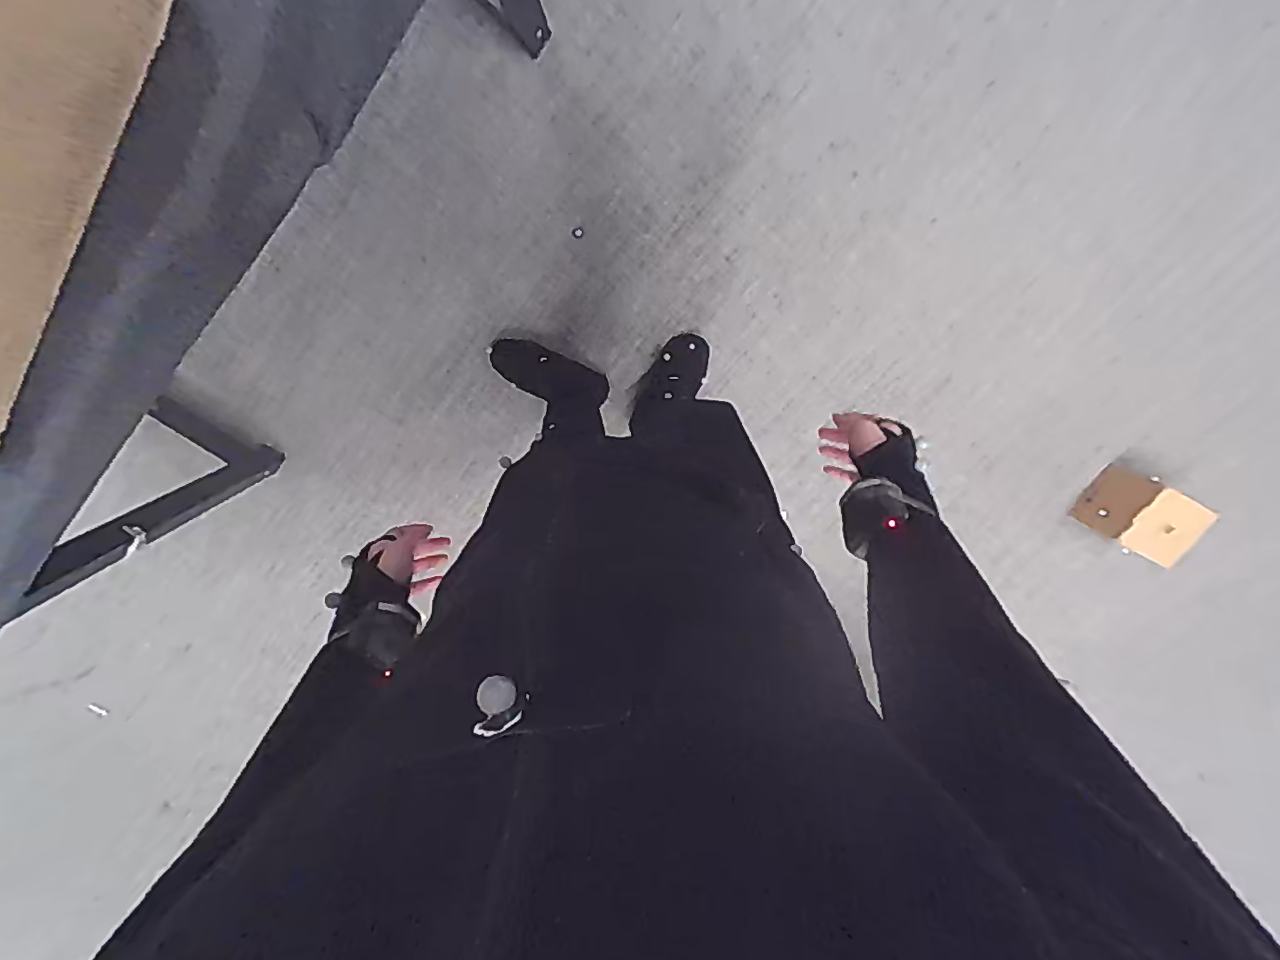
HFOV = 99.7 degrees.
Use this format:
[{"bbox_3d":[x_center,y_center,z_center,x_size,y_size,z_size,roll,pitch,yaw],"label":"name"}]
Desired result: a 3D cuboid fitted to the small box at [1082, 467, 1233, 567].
[{"bbox_3d":[1.273,0.084,1.348,0.179,0.176,0.168,23,109,-10],"label":"small box"}]
